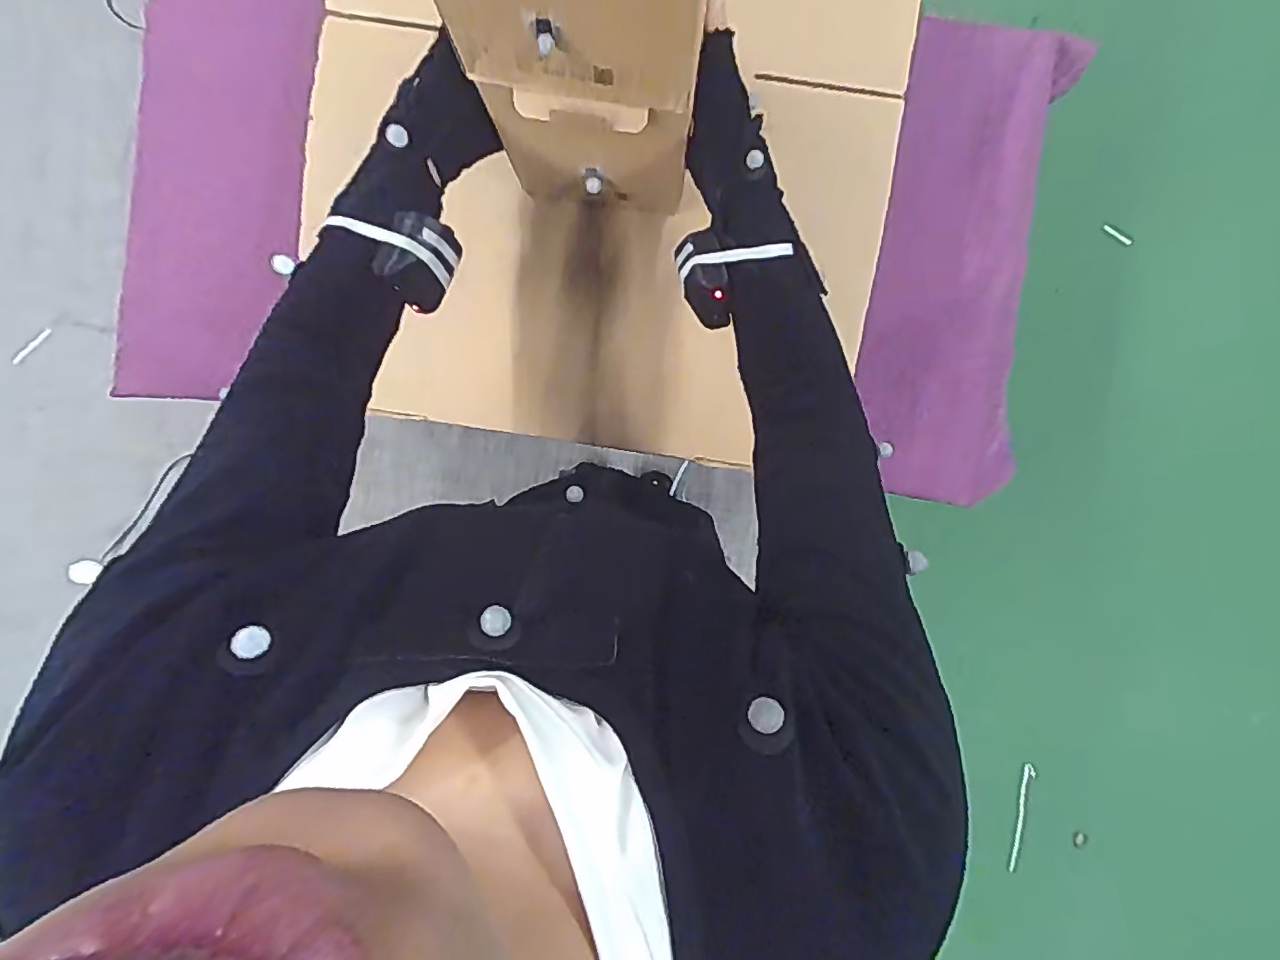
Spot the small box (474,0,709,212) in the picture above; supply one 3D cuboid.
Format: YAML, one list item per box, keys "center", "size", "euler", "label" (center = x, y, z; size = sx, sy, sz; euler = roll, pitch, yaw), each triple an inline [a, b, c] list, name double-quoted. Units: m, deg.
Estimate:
- center: [-0.031, -0.375, 0.482]
  size: [0.168, 0.176, 0.179]
  euler: [9, 91, 1]
  label: "small box"

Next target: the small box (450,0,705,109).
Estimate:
- center: [-0.033, -0.370, 0.319]
  size: [0.168, 0.176, 0.179]
  euler: [9, 92, 0]
  label: "small box"
